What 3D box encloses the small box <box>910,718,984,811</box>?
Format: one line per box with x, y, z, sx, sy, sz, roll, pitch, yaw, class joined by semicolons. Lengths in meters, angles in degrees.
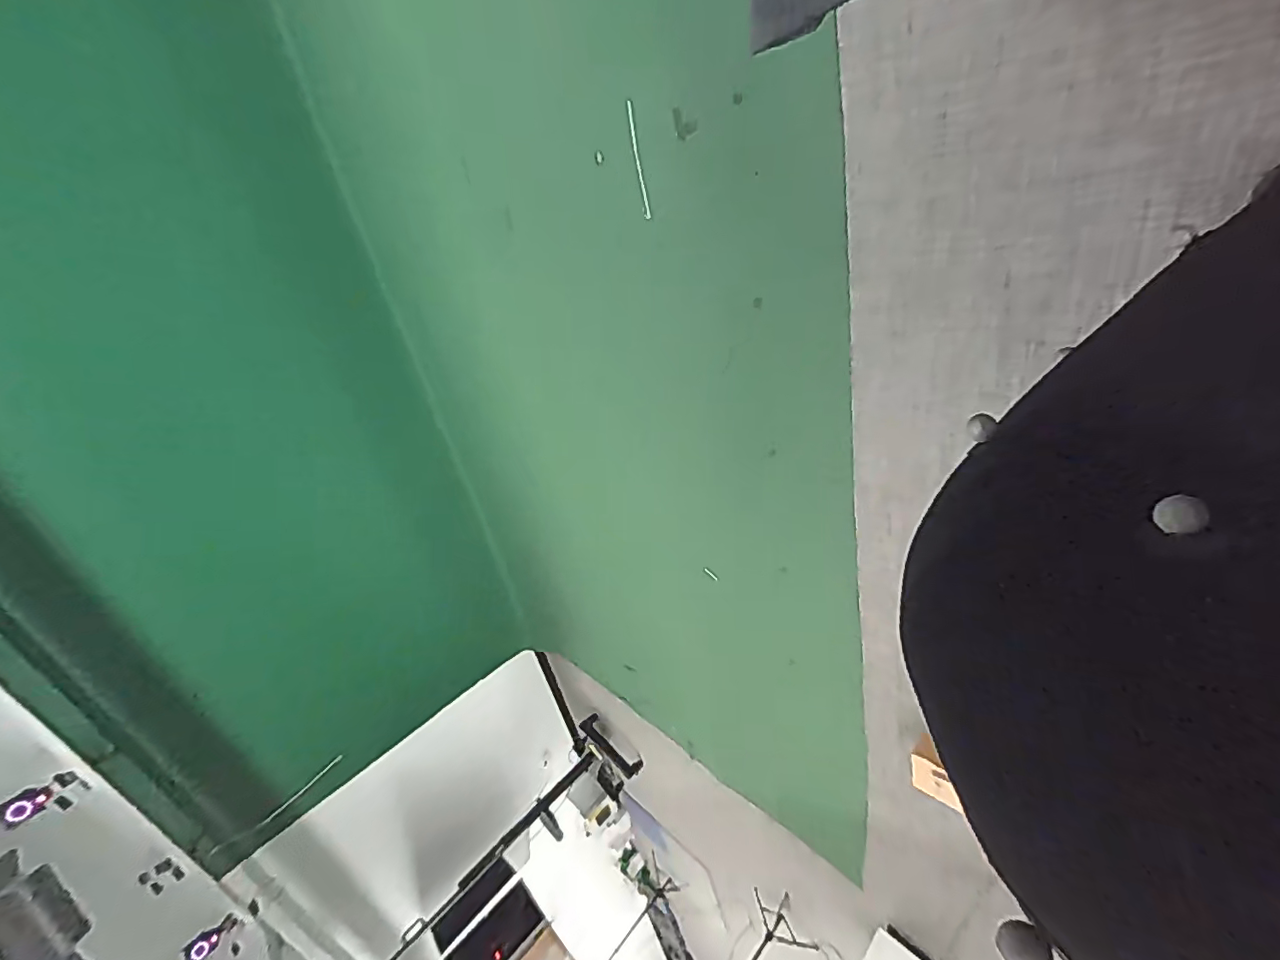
1.013;0.928;1.783;0.168;0.176;0.179;16;129;46;small box
